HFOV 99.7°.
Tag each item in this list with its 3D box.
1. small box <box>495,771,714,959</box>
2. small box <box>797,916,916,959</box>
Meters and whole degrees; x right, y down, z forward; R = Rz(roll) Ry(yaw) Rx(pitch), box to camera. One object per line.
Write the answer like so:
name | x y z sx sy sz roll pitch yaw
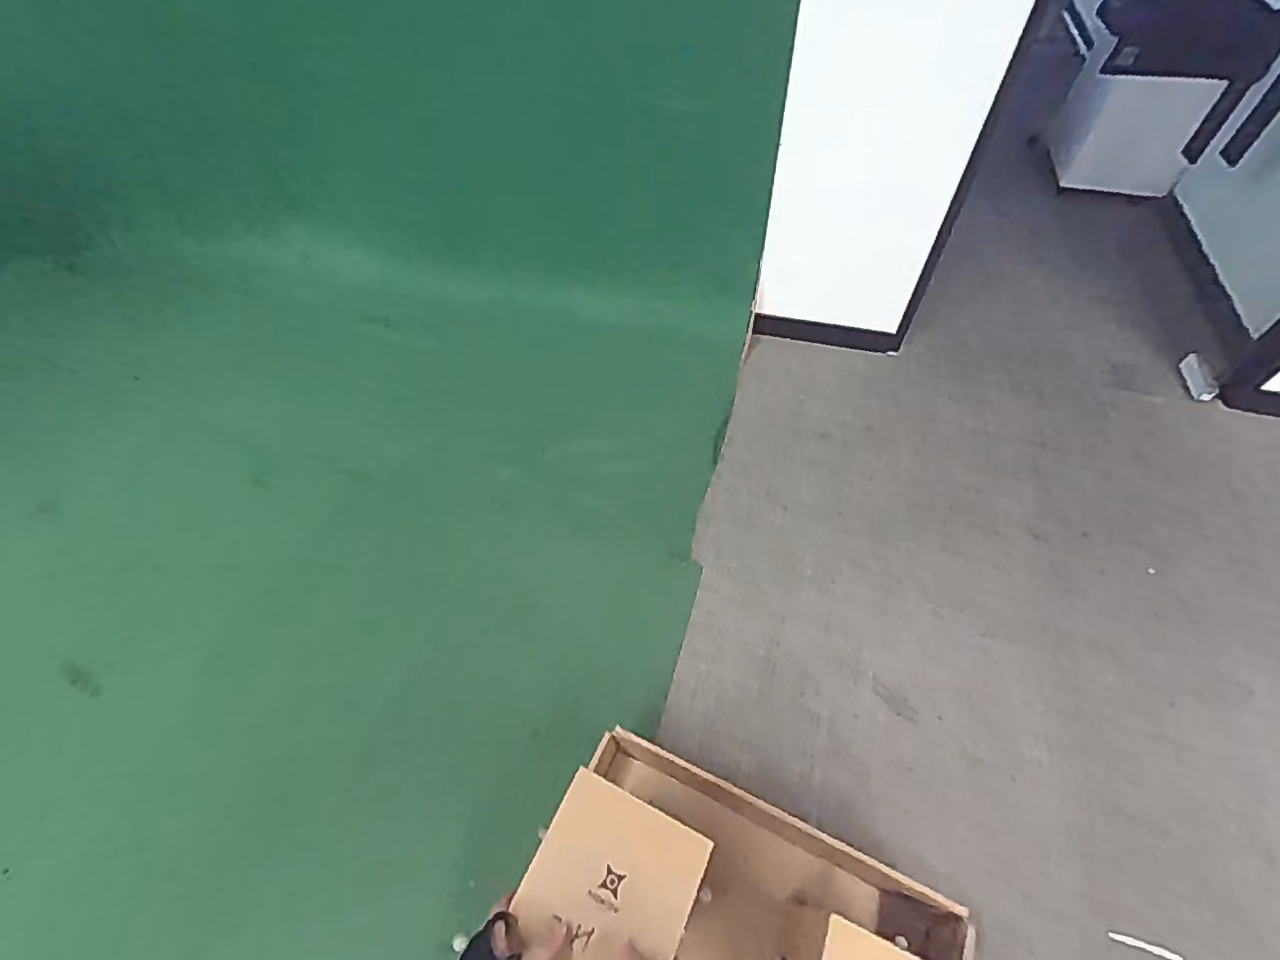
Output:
small box | -0.031 0.465 0.609 0.168 0.176 0.179 22 58 16
small box | 0.275 0.666 0.652 0.168 0.176 0.179 19 57 18
